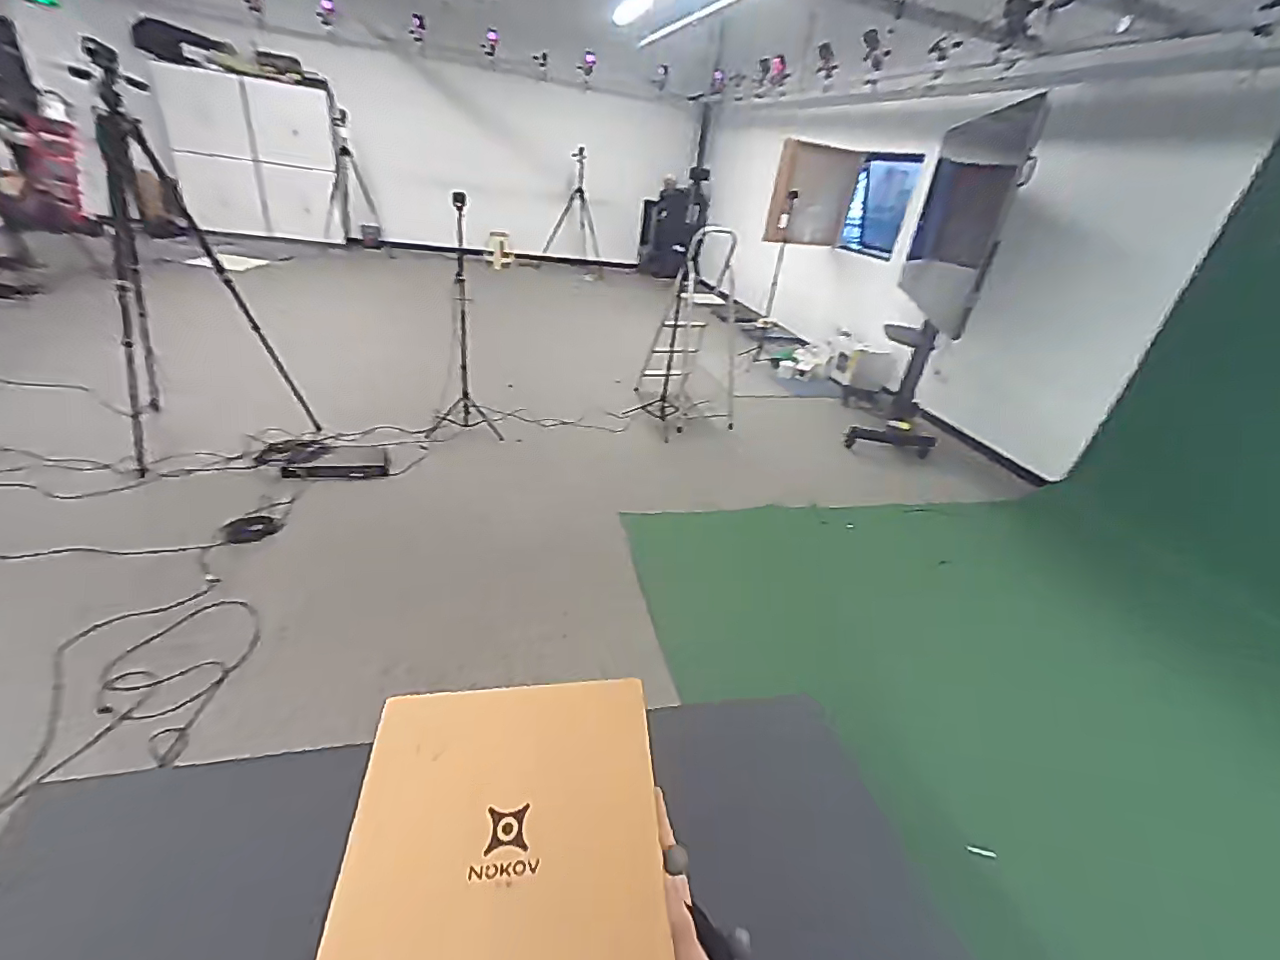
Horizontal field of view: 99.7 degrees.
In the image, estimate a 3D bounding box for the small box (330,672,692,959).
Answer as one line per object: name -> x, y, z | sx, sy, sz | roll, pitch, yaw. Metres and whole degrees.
small box -> -0.067, 0.246, 0.336 | 0.168, 0.176, 0.179 | -2, 41, -6
